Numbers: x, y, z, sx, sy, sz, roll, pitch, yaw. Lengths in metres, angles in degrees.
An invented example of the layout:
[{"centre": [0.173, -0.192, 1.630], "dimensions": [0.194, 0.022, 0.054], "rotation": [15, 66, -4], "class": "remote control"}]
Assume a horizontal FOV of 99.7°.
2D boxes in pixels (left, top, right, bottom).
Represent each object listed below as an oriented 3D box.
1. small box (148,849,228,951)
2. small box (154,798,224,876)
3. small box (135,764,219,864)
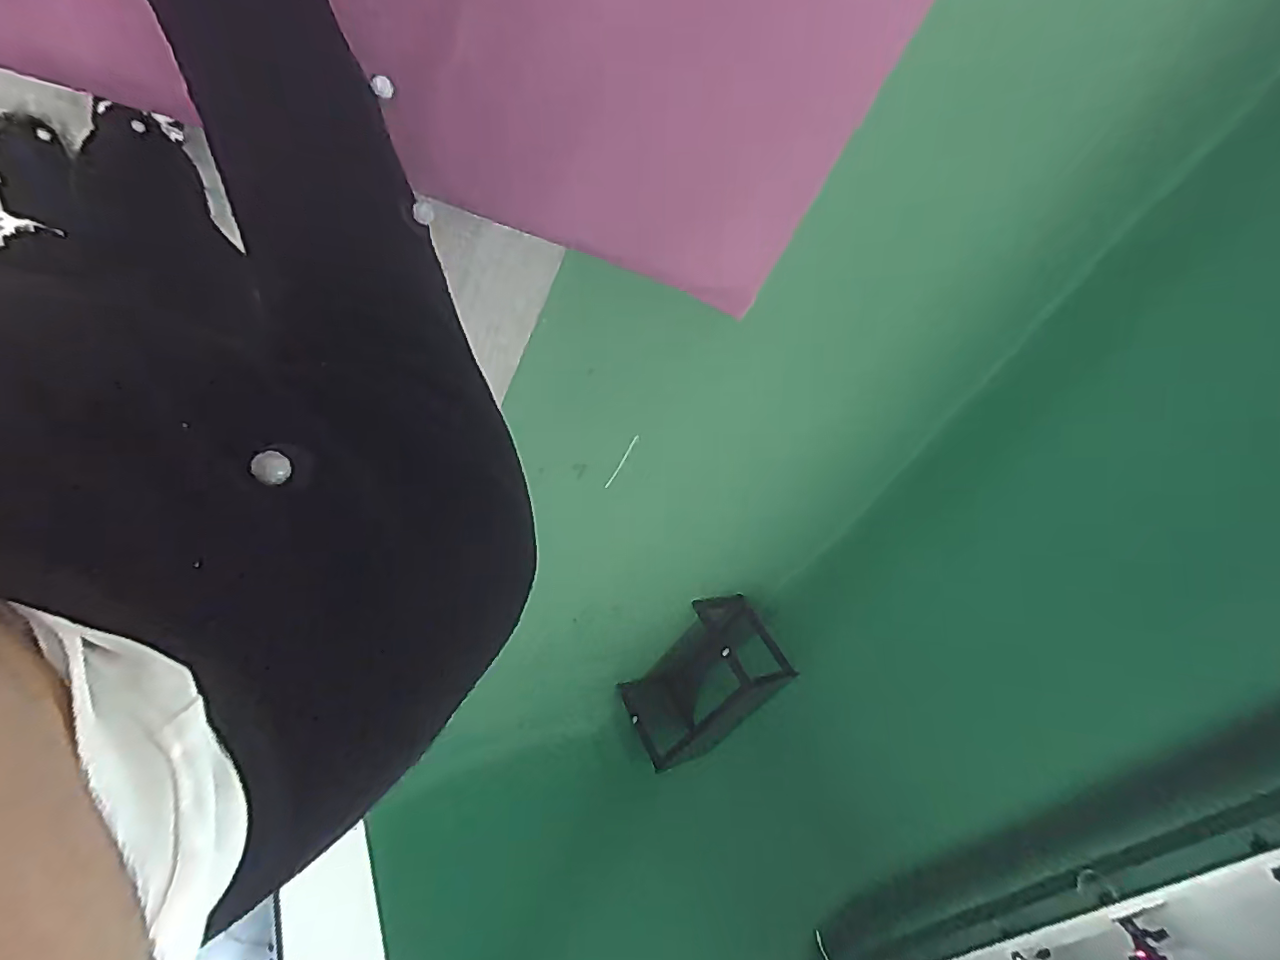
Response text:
[{"centre": [-1.354, 1.252, 1.622], "dimensions": [0.168, 0.176, 0.179], "rotation": [6, 129, -43], "class": "small box"}, {"centre": [-1.435, 1.150, 1.726], "dimensions": [0.168, 0.176, 0.179], "rotation": [0, 133, -37], "class": "small box"}, {"centre": [-1.338, 0.960, 1.566], "dimensions": [0.179, 0.176, 0.168], "rotation": [2, 134, -41], "class": "small box"}]
